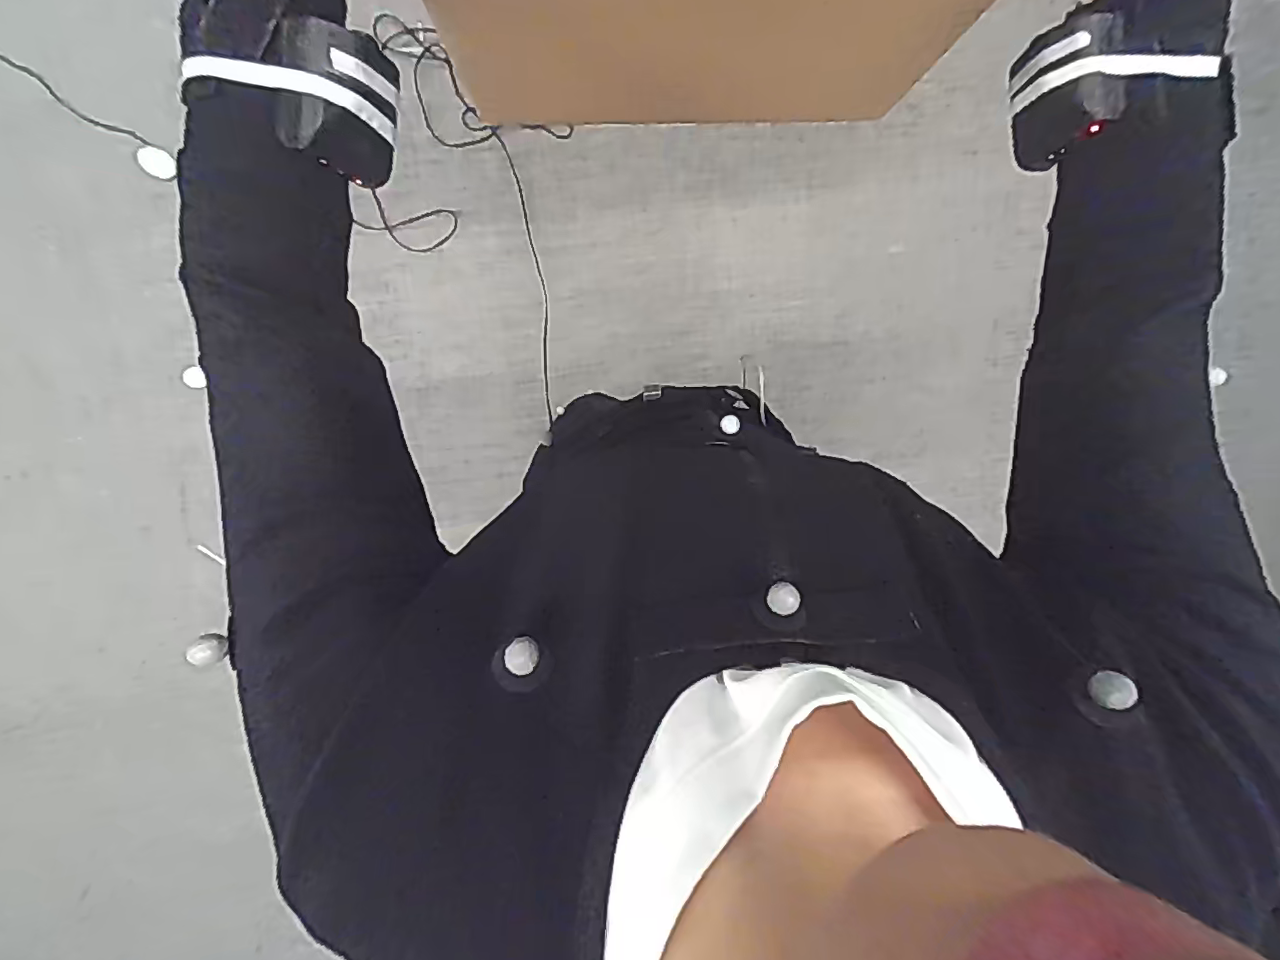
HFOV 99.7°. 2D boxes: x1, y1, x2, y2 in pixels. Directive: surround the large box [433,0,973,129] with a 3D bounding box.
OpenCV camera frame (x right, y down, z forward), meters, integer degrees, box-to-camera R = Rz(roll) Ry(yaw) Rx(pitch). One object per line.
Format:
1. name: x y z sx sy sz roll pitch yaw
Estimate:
1. large box: 0.042 -0.488 0.376 0.408 0.320 0.320 -4 99 -3
